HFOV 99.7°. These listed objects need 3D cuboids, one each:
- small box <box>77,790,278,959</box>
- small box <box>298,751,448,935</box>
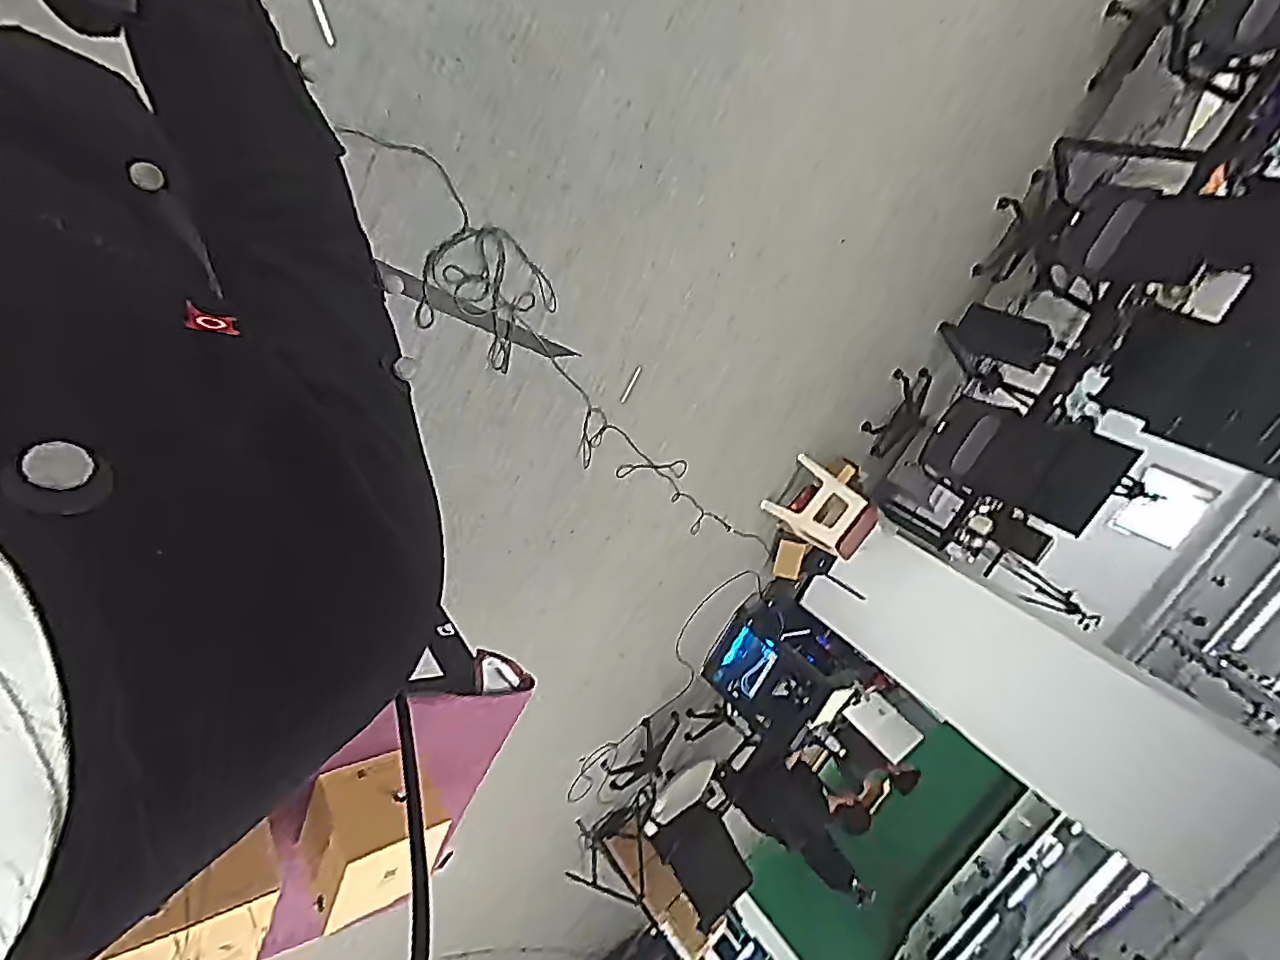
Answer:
[{"bbox_3d":[-0.619,0.561,0.721,0.179,0.176,0.168,8,114,-48],"label":"small box"},{"bbox_3d":[-0.458,0.595,0.918,0.168,0.176,0.179,4,117,-47],"label":"small box"}]
